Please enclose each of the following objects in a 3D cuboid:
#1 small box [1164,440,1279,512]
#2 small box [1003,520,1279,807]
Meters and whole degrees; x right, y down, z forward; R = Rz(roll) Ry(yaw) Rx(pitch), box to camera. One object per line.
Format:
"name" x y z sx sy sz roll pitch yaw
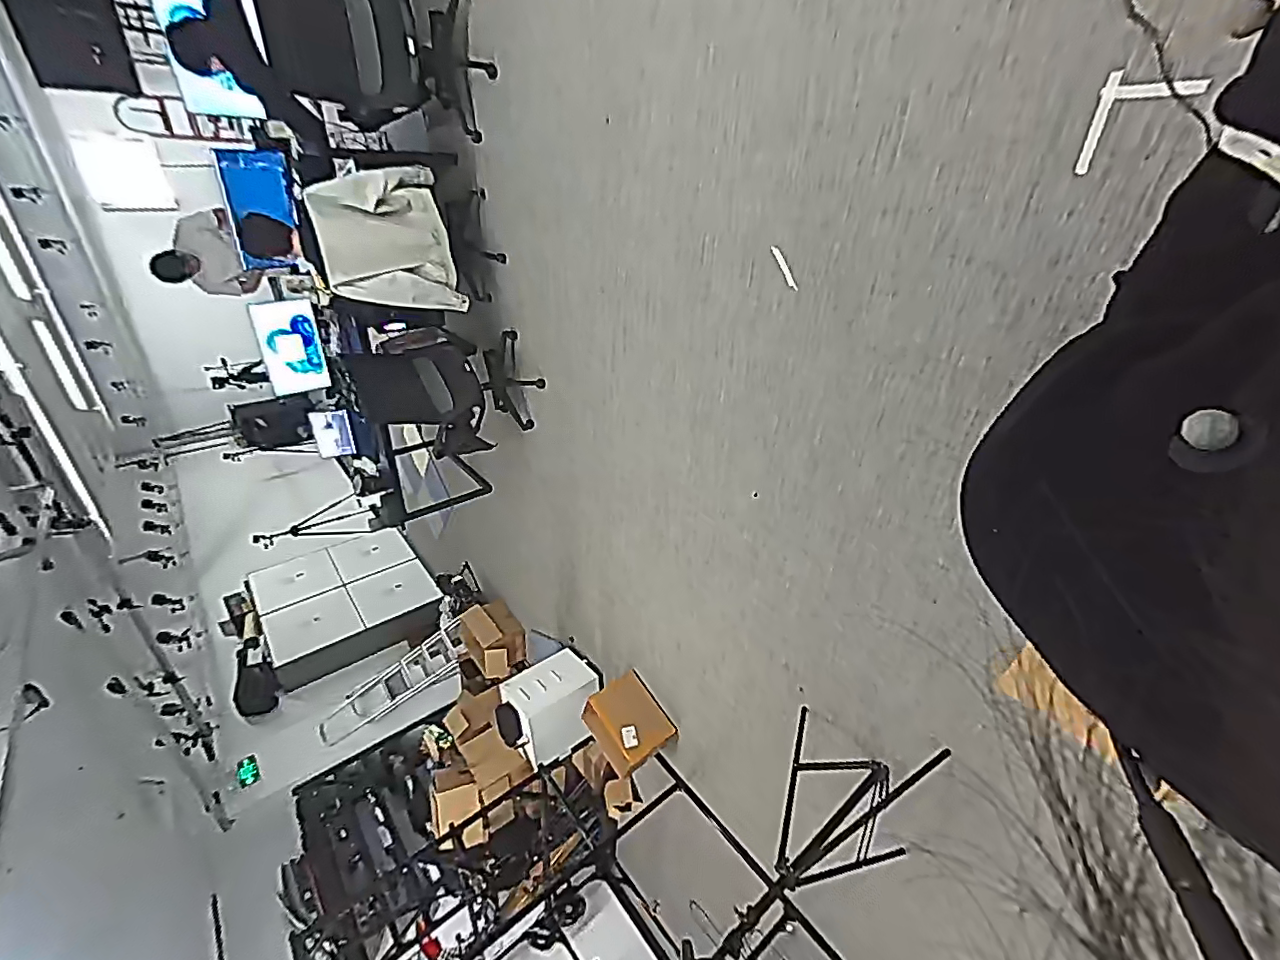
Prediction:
"small box" 0.768 0.068 0.720 0.168 0.176 0.179 39 135 37
"small box" 0.515 0.167 0.541 0.168 0.176 0.179 37 137 39
